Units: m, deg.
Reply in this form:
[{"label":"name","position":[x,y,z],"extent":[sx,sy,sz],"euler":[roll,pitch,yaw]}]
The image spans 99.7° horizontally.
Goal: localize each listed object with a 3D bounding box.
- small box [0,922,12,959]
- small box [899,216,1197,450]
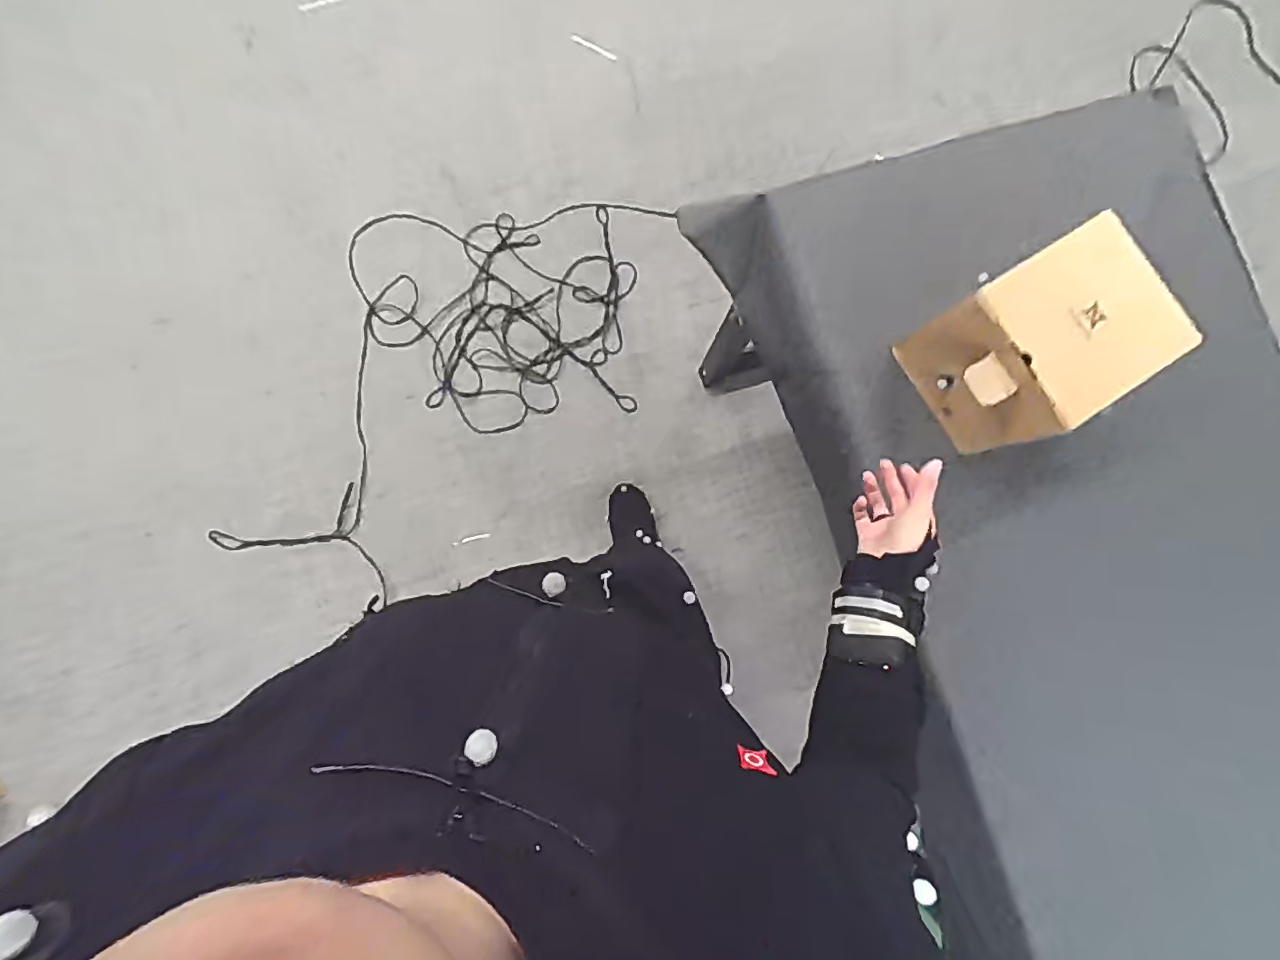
[{"label":"small box","position":[-1.501,1.044,1.129],"extent":[0.168,0.176,0.179],"euler":[19,85,0]},{"label":"small box","position":[0.443,-0.152,0.618],"extent":[0.179,0.176,0.168],"euler":[-32,88,-5]}]
